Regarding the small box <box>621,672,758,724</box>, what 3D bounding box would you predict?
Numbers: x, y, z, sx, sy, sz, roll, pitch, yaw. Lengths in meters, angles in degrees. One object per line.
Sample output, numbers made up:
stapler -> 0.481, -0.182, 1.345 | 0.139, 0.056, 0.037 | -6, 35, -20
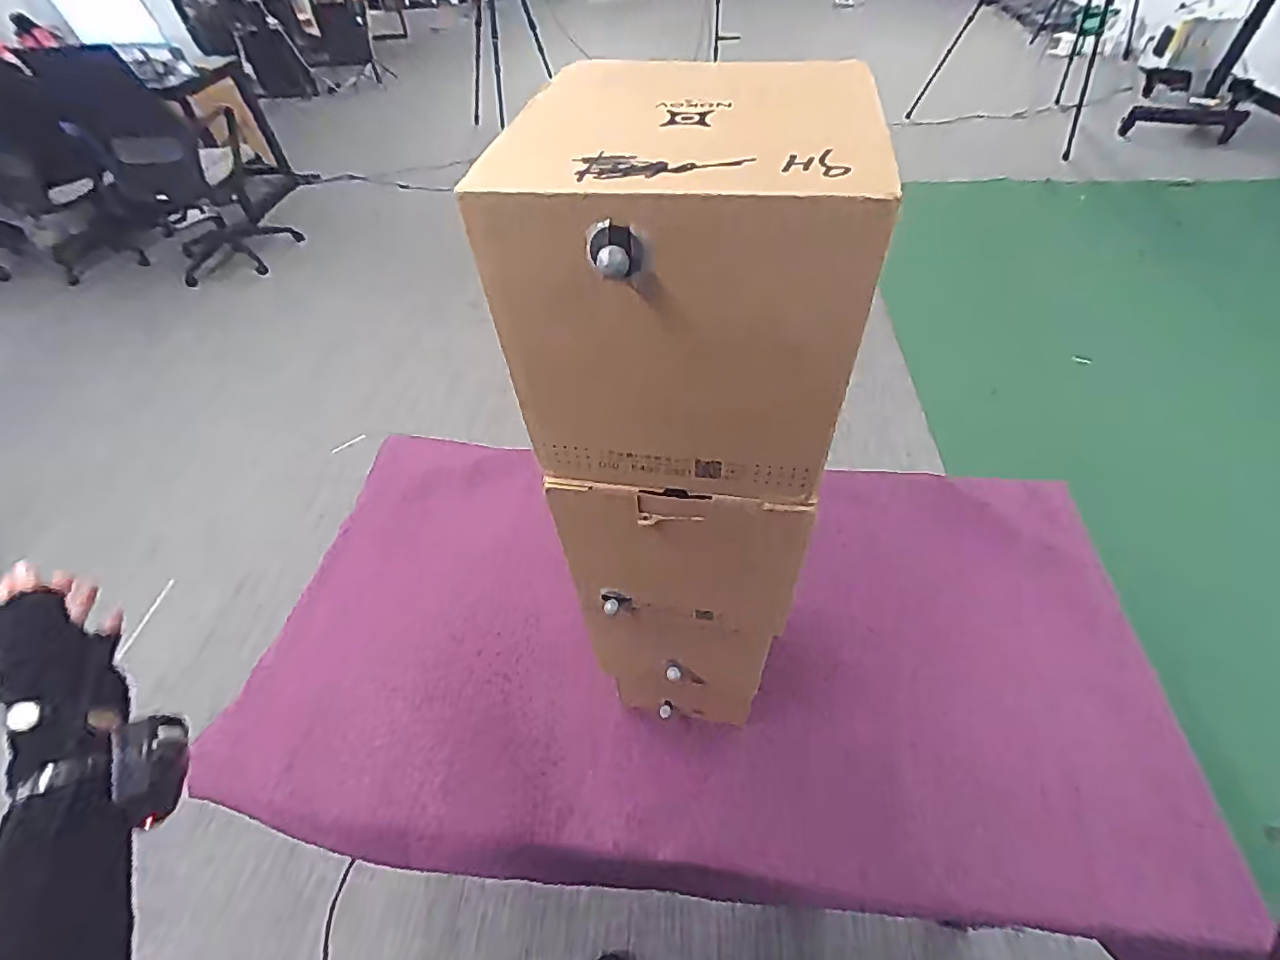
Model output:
small box -> 0.067, 0.191, 0.703 | 0.168, 0.176, 0.179 | 6, 51, 10

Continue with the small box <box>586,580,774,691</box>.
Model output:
small box -> 0.050, 0.097, 0.569 | 0.168, 0.176, 0.179 | 4, 50, 9

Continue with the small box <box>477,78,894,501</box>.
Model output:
small box -> 0.033, -0.113, 0.318 | 0.168, 0.176, 0.179 | 6, 49, 11

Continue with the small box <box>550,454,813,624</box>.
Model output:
small box -> 0.043, -0.003, 0.439 | 0.168, 0.176, 0.179 | 5, 49, 9
